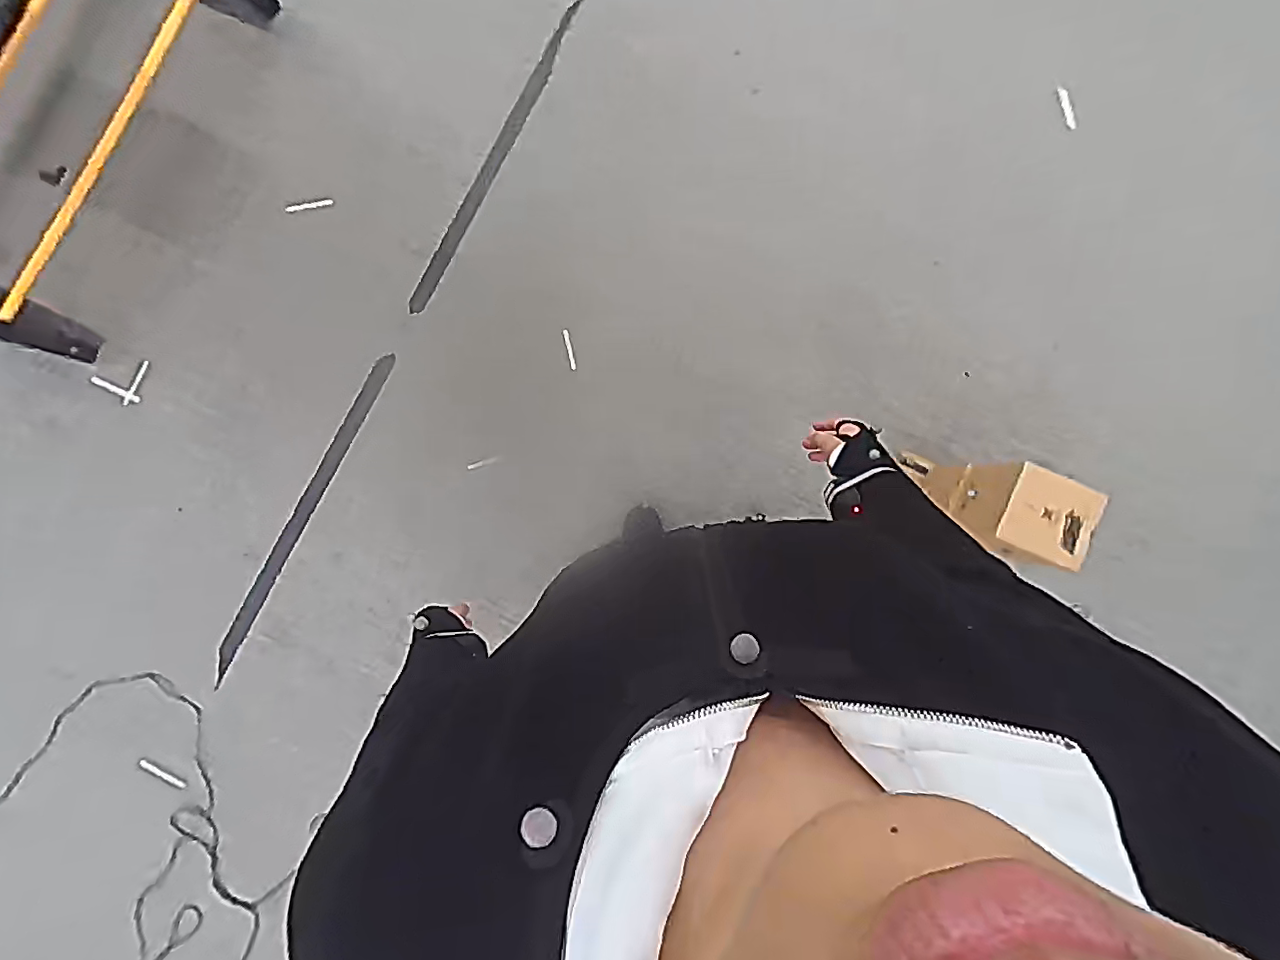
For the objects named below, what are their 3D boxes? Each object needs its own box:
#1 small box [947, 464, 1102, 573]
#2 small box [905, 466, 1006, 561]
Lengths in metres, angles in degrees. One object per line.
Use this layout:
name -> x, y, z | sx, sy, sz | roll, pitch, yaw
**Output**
small box -> 0.804, 0.077, 1.148 | 0.179, 0.176, 0.168 | 24, 88, 1
small box -> 0.789, 0.078, 1.312 | 0.179, 0.176, 0.168 | 26, 88, 1
